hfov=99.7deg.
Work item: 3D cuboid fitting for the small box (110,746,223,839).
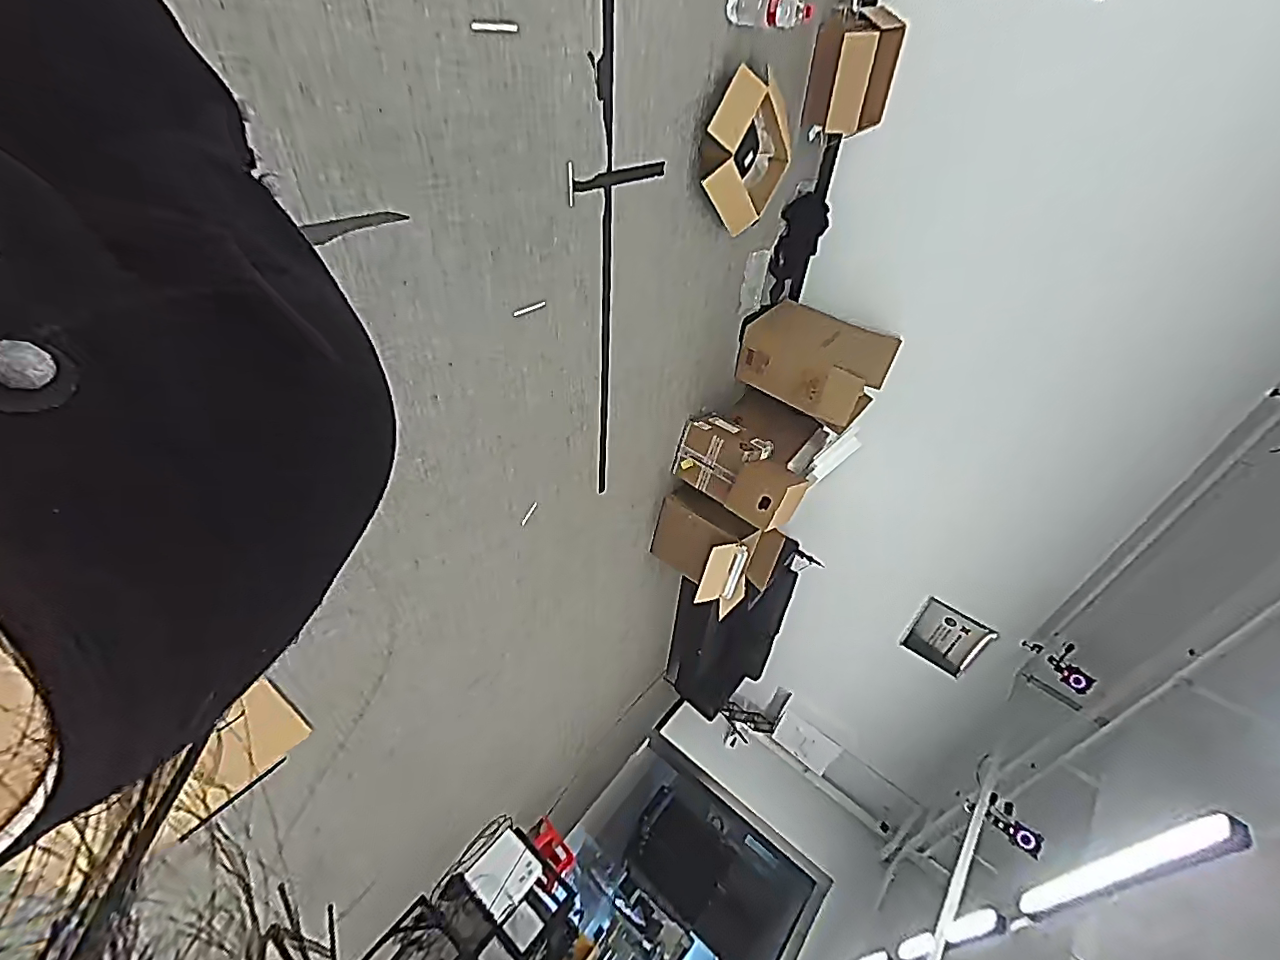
[{"bbox_3d":[-1.431,0.942,1.637,0.168,0.176,0.179,-46,150,-30],"label":"small box"}]
